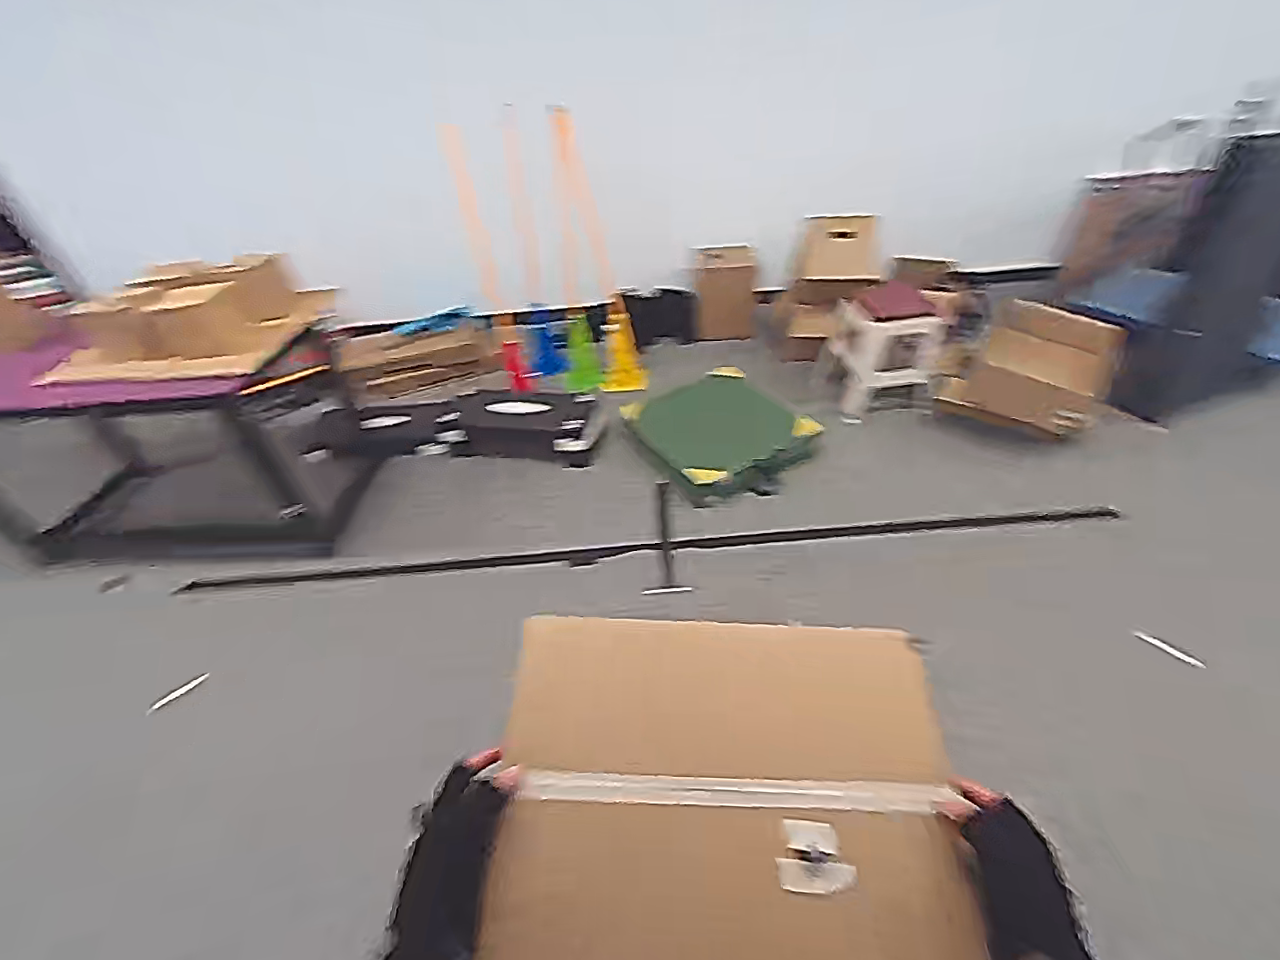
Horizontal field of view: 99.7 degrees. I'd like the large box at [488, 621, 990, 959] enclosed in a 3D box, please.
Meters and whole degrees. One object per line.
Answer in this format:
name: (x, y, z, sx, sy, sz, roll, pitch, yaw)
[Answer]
large box: (0.076, 0.371, 0.615, 0.408, 0.320, 0.320, 2, 53, 0)
